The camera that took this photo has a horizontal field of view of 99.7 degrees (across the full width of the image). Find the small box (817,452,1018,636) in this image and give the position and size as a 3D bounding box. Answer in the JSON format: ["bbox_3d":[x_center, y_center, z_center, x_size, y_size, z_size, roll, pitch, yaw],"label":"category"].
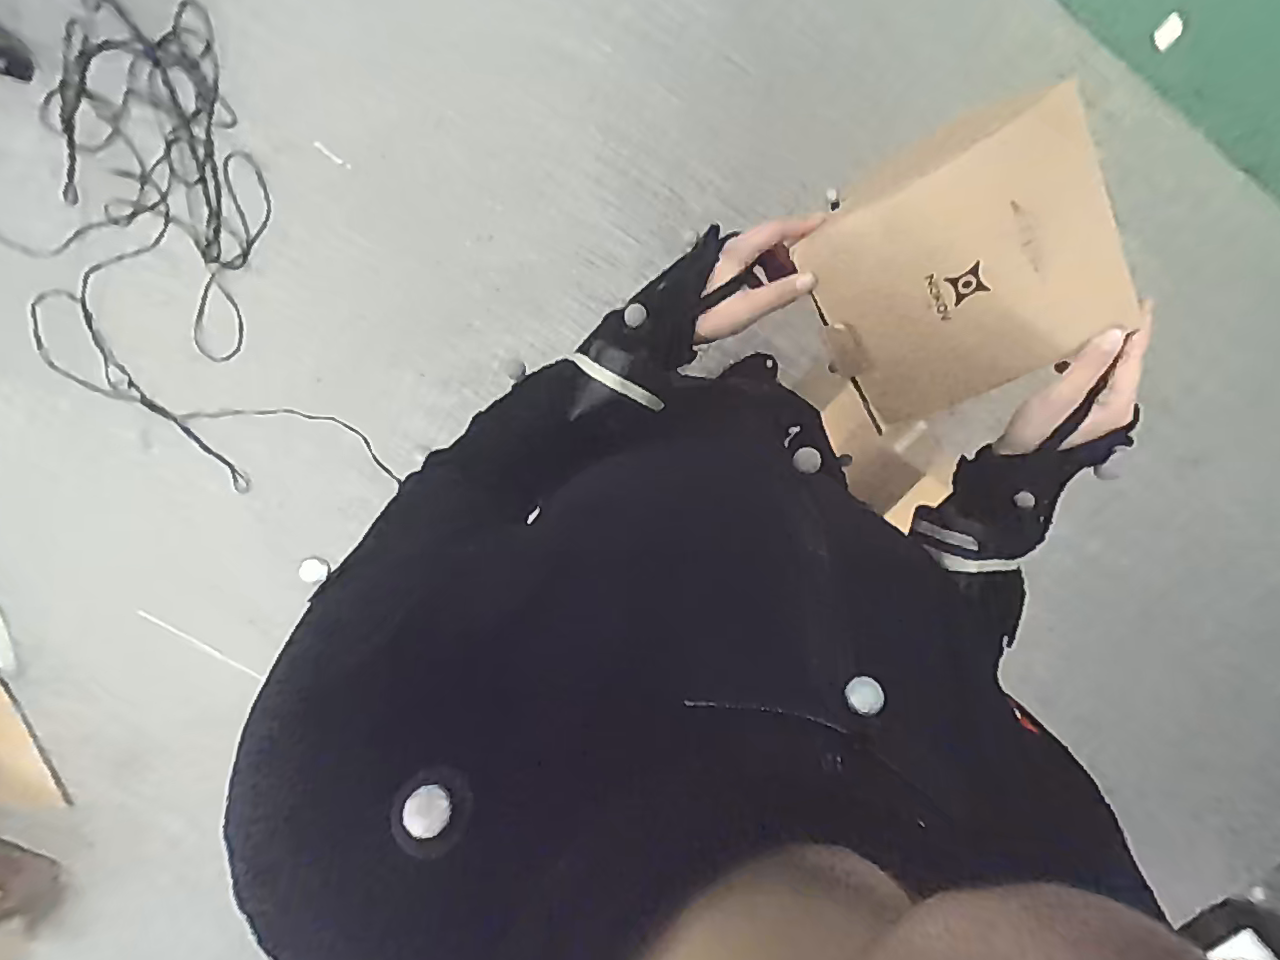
[{"bbox_3d":[0.389,0.083,0.797,0.168,0.176,0.179,37,108,-6],"label":"small box"}]
